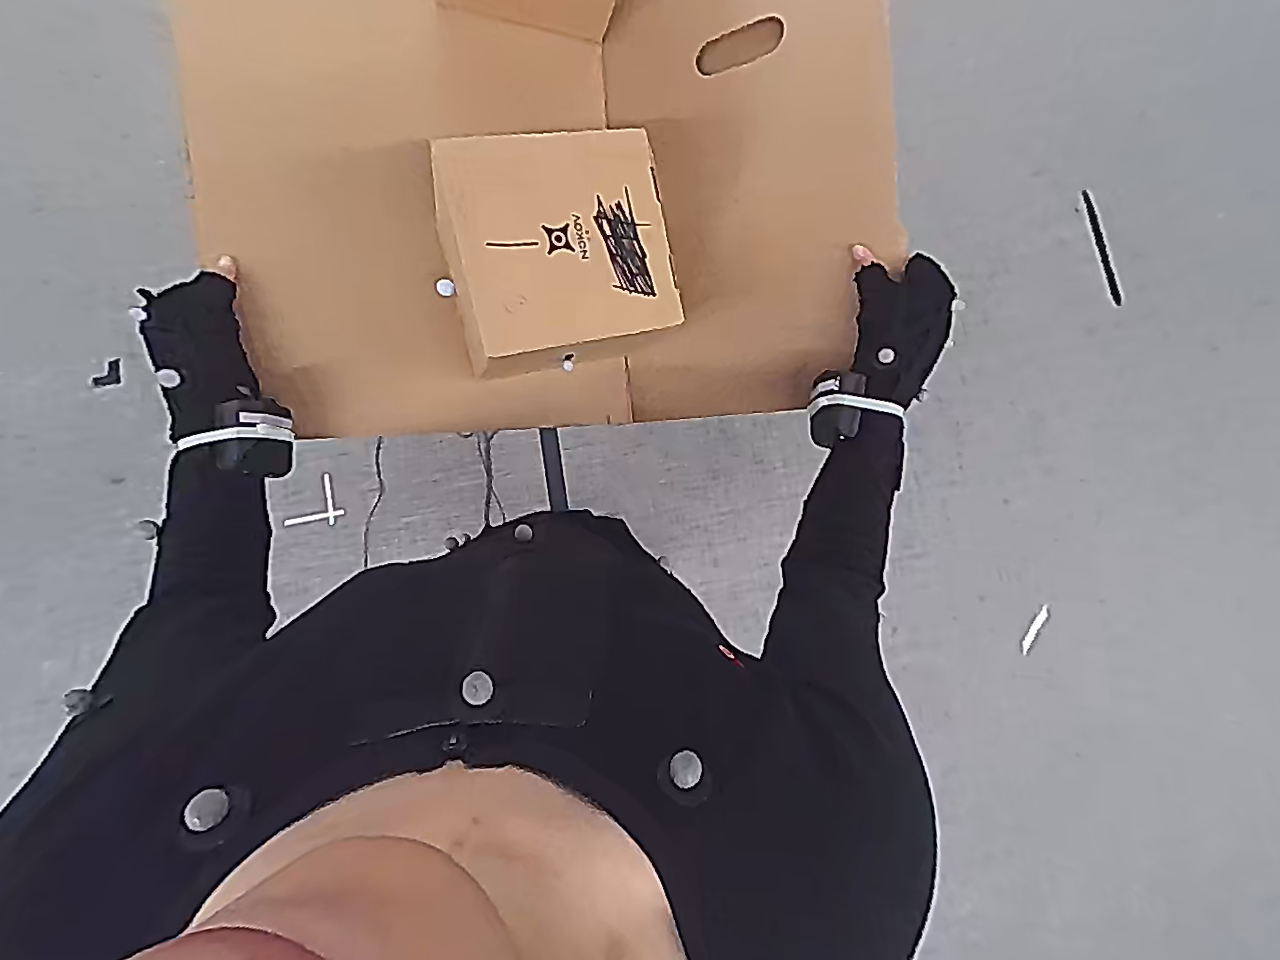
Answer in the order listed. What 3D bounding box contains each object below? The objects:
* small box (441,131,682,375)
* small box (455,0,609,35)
[{"bbox_3d":[-0.083,-0.205,0.522,0.179,0.176,0.168,-15,97,-17],"label":"small box"},{"bbox_3d":[-0.101,-0.566,0.500,0.179,0.176,0.168,-2,93,-20],"label":"small box"}]
